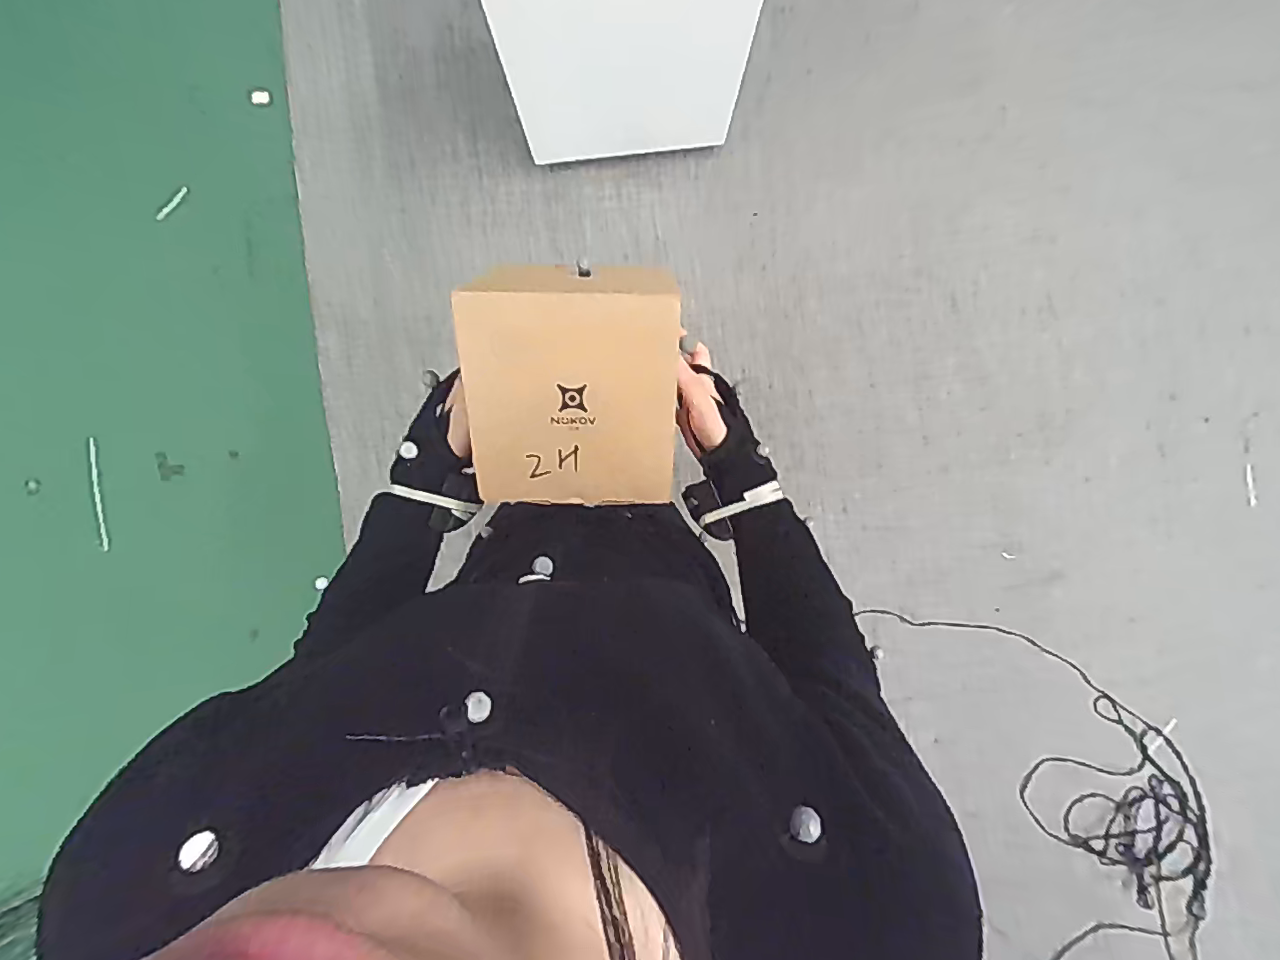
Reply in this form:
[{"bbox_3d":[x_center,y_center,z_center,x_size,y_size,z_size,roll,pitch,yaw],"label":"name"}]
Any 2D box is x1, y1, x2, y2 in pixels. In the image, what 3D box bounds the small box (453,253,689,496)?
[{"bbox_3d":[-0.051,-0.101,0.479,0.168,0.176,0.179,0,118,-1],"label":"small box"}]
